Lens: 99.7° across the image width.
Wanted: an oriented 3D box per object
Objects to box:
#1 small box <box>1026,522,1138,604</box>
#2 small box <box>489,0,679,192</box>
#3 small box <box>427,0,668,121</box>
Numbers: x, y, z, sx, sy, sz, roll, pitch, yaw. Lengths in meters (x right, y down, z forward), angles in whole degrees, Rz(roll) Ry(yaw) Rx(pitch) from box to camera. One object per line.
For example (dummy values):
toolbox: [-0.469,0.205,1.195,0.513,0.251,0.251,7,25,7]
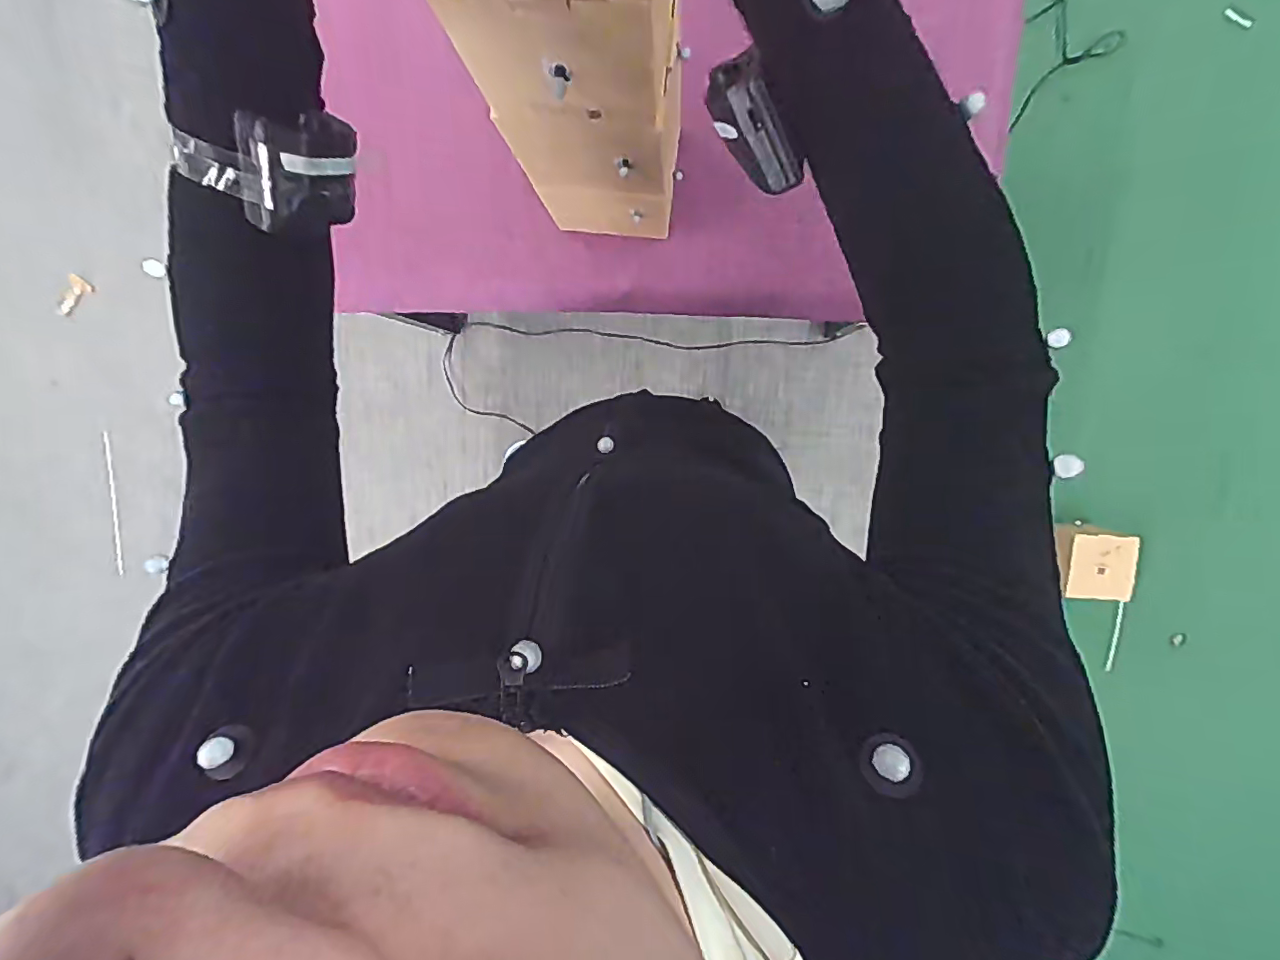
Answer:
small box: [1.211,0.225,1.497,0.168,0.176,0.179,3,98,3]
small box: [-0.051,-0.444,0.605,0.179,0.176,0.168,7,97,3]
small box: [-0.061,-0.431,0.443,0.168,0.176,0.179,7,97,2]
